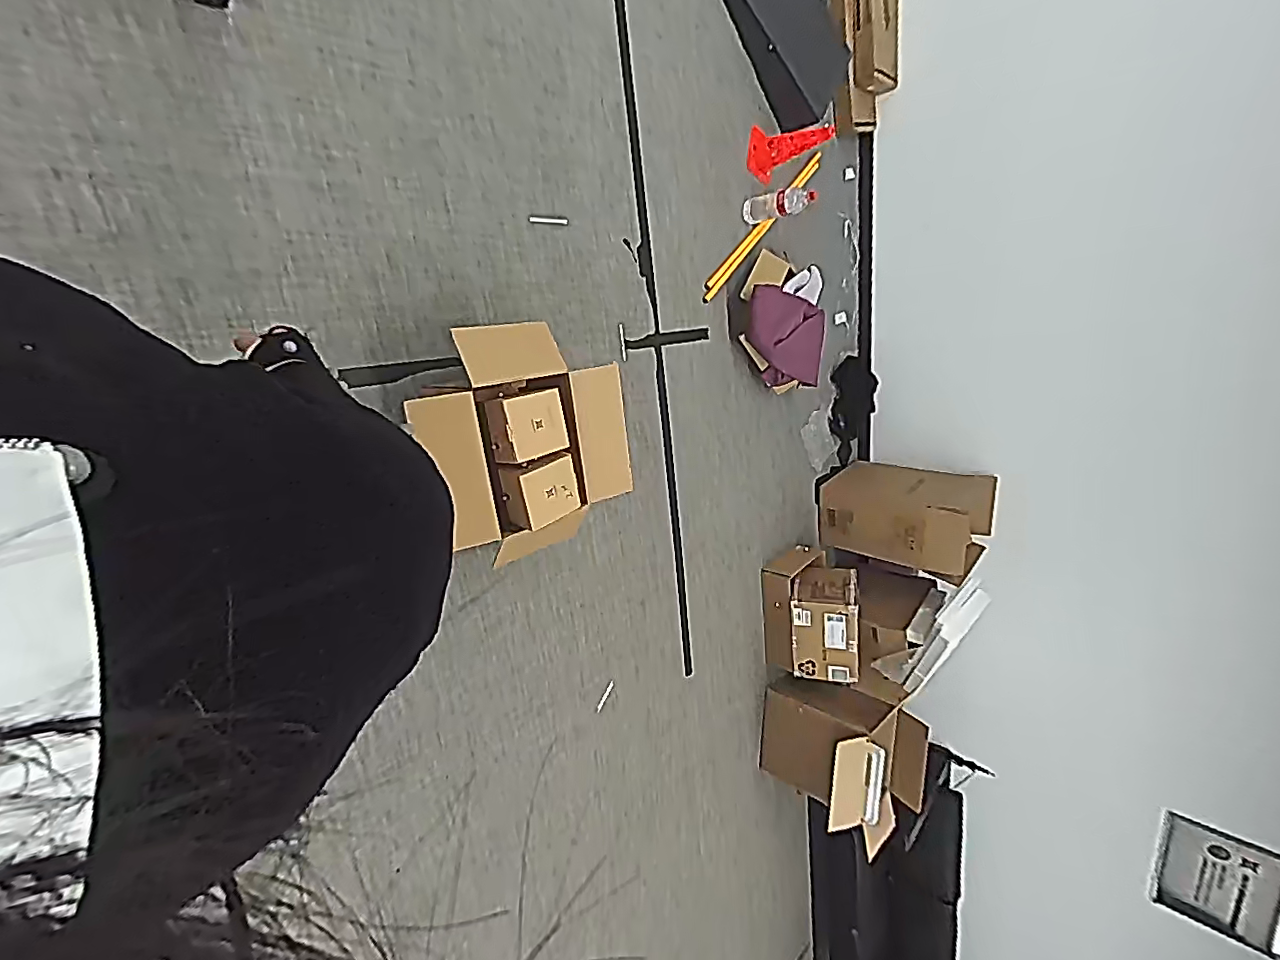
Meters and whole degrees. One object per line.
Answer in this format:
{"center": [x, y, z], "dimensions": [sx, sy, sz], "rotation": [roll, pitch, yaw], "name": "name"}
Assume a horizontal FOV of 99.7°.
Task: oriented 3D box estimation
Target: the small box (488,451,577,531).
{"center": [-0.307, 0.019, 1.520], "dimensions": [0.179, 0.176, 0.168], "rotation": [-29, 121, -39], "name": "small box"}

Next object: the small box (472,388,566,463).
{"center": [-0.333, -0.149, 1.463], "dimensions": [0.179, 0.176, 0.168], "rotation": [-25, 112, -42], "name": "small box"}
